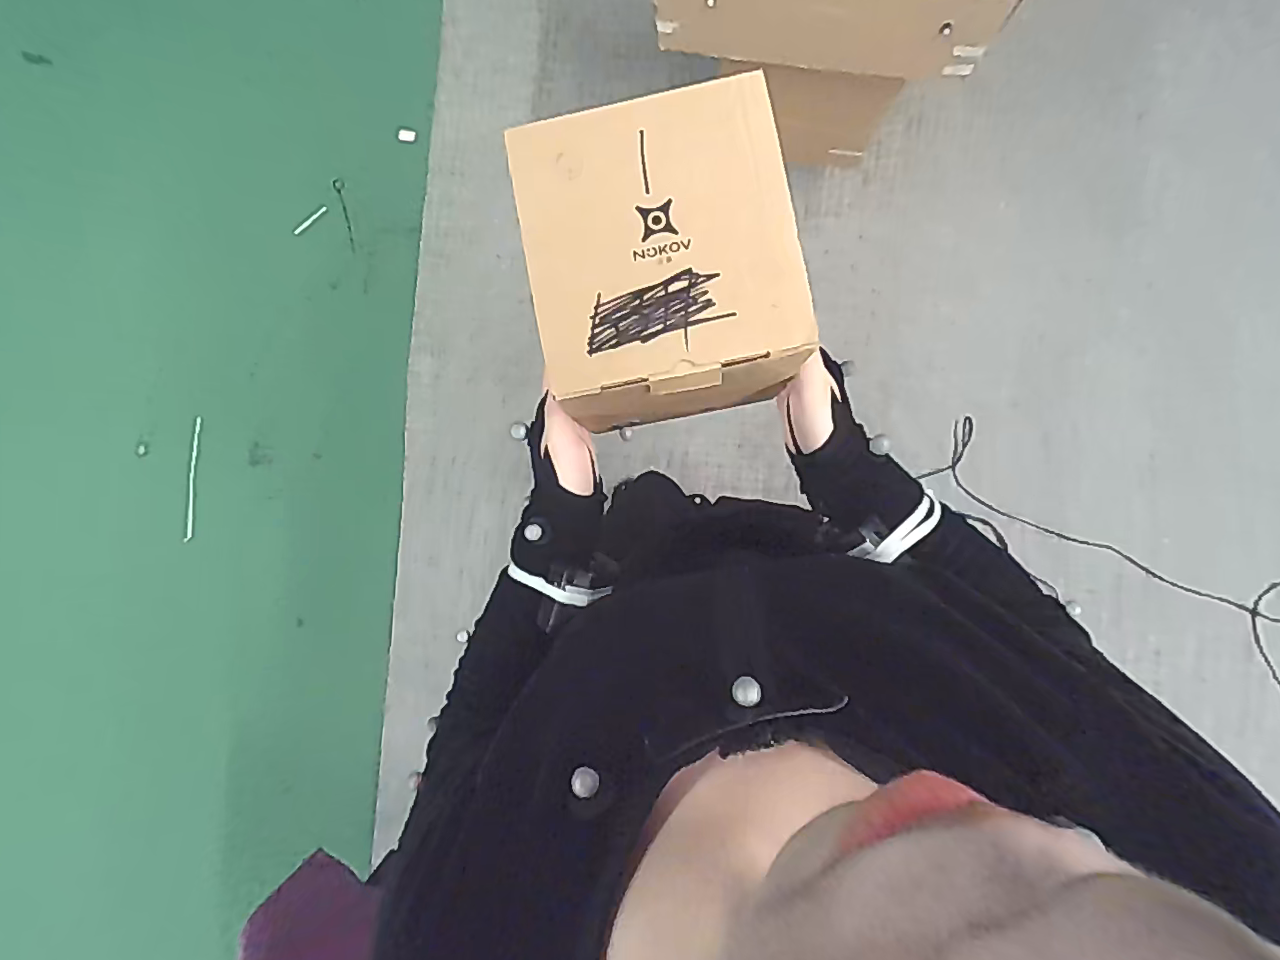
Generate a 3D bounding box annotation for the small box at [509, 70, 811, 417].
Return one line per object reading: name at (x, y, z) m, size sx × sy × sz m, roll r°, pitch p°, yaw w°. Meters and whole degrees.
small box at (0.016, -0.150, 0.411) m, size 0.168 × 0.176 × 0.179 m, roll -10°, pitch 87°, yaw 3°
